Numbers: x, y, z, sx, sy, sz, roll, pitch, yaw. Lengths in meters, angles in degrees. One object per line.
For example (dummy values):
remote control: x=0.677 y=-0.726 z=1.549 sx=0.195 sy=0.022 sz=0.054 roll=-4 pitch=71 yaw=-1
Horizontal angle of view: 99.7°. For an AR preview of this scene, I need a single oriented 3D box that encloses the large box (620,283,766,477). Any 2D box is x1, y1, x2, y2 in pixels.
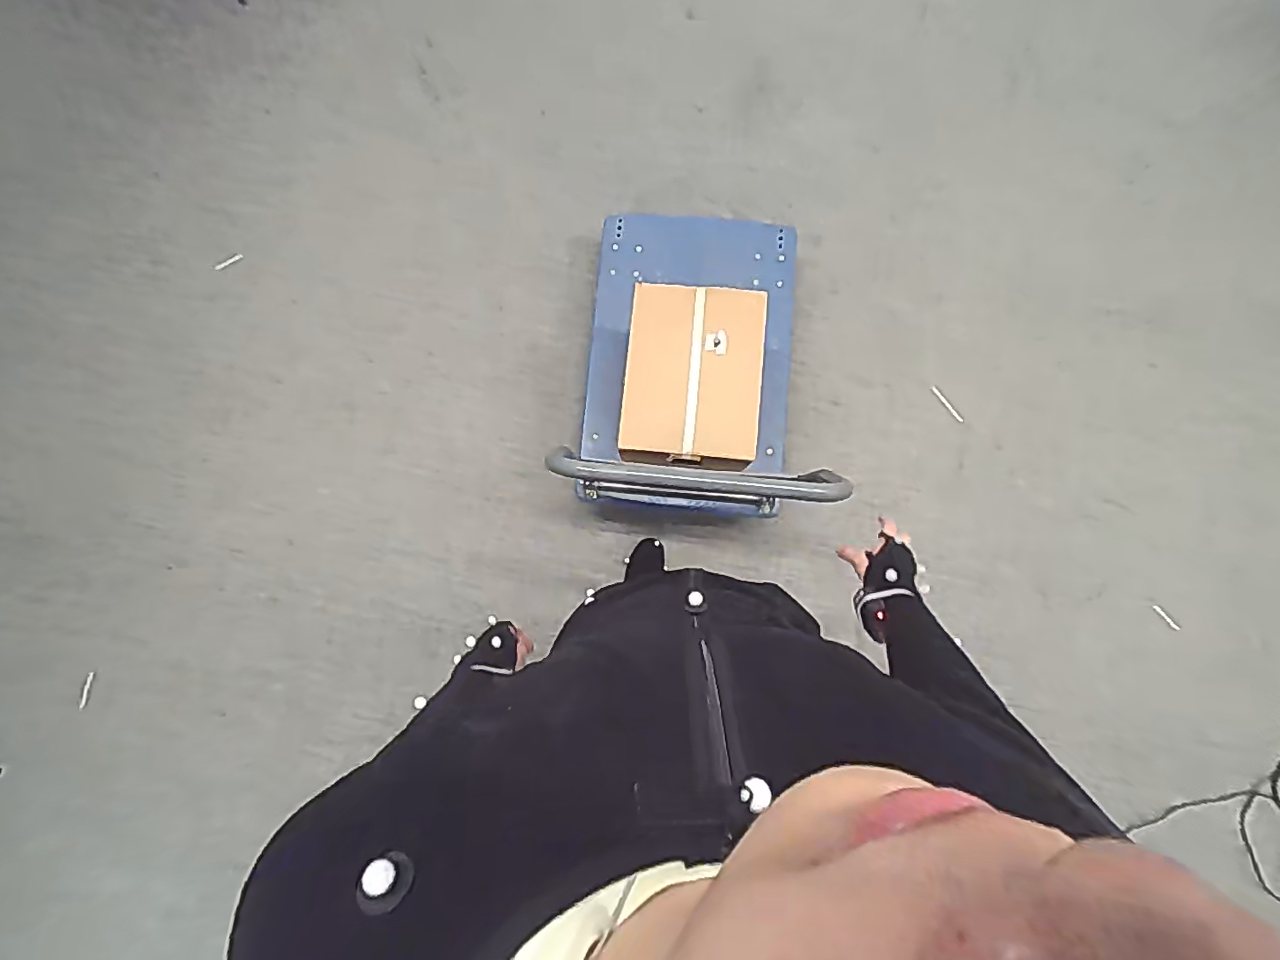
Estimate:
large box: x=0.131 y=-0.234 z=1.376 sx=0.320 sy=0.320 sz=0.408 roll=5 pitch=81 yaw=2
